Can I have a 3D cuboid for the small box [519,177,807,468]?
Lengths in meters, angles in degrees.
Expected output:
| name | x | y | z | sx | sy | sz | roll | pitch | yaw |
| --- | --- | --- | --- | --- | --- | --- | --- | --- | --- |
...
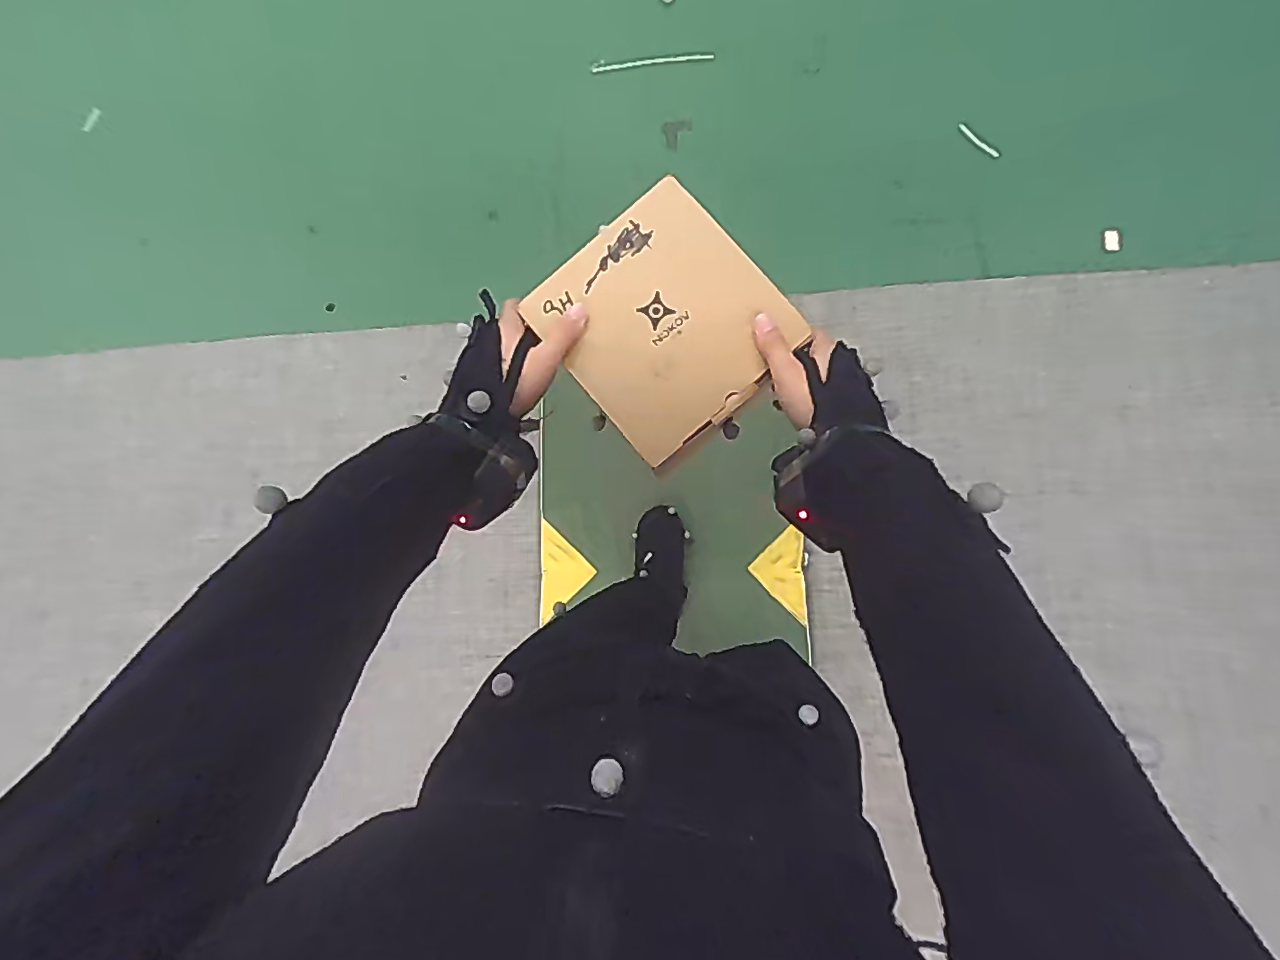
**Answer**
| name | x | y | z | sx | sy | sz | roll | pitch | yaw |
| --- | --- | --- | --- | --- | --- | --- | --- | --- | --- |
| small box | 0.022 | -0.125 | 0.509 | 0.168 | 0.176 | 0.179 | -40 | 86 | 0 |
